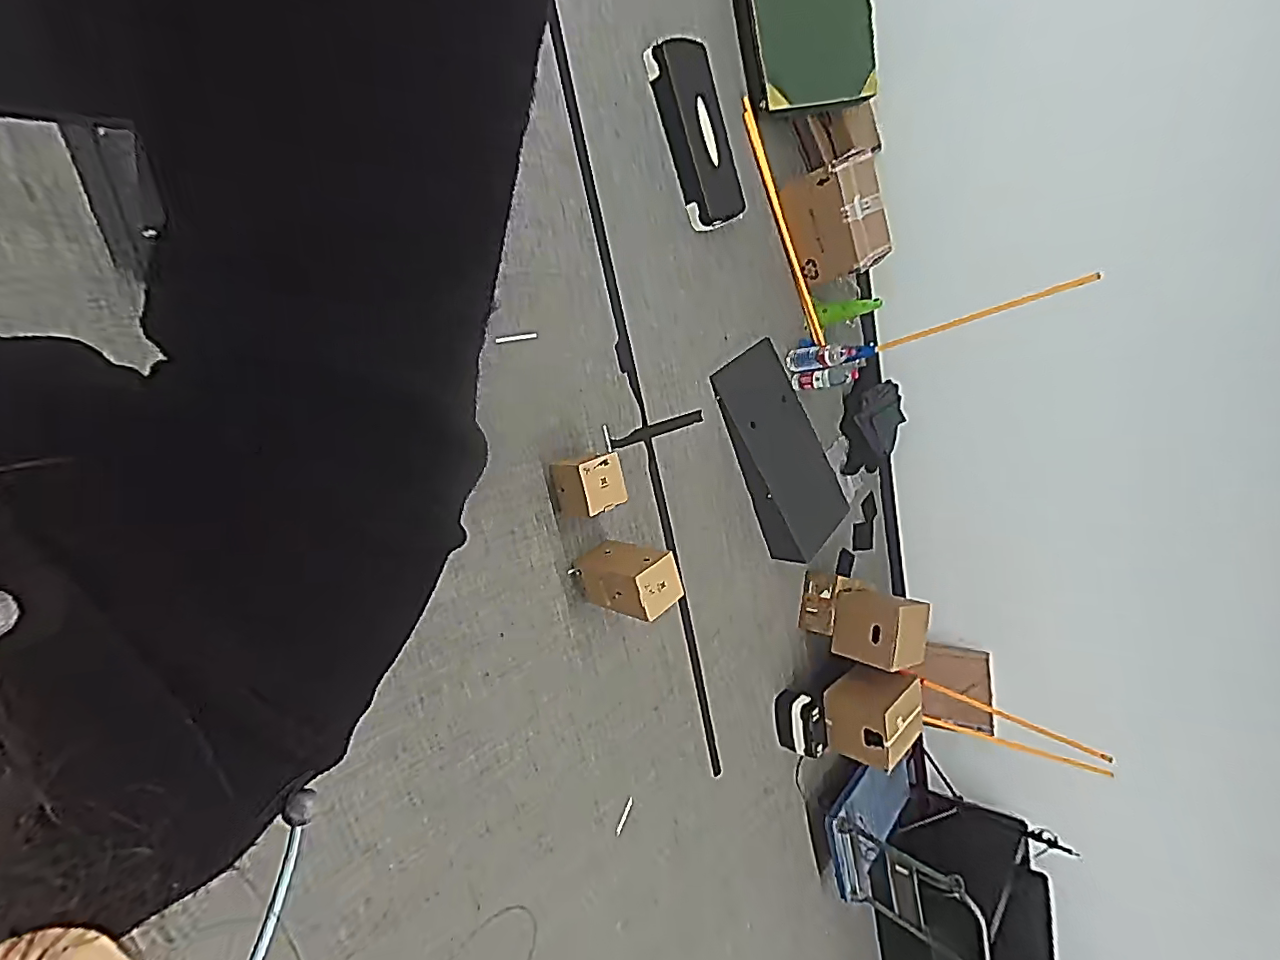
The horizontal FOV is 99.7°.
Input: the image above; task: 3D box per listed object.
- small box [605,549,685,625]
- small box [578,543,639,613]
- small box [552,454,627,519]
[{"bbox_3d":[0.015,0.340,1.762,0.179,0.176,0.168,-30,110,-38],"label":"small box"},{"bbox_3d":[-0.097,0.335,1.884,0.179,0.176,0.168,-31,112,-38],"label":"small box"},{"bbox_3d":[-0.169,0.017,1.804,0.168,0.176,0.179,-22,107,-40],"label":"small box"}]
